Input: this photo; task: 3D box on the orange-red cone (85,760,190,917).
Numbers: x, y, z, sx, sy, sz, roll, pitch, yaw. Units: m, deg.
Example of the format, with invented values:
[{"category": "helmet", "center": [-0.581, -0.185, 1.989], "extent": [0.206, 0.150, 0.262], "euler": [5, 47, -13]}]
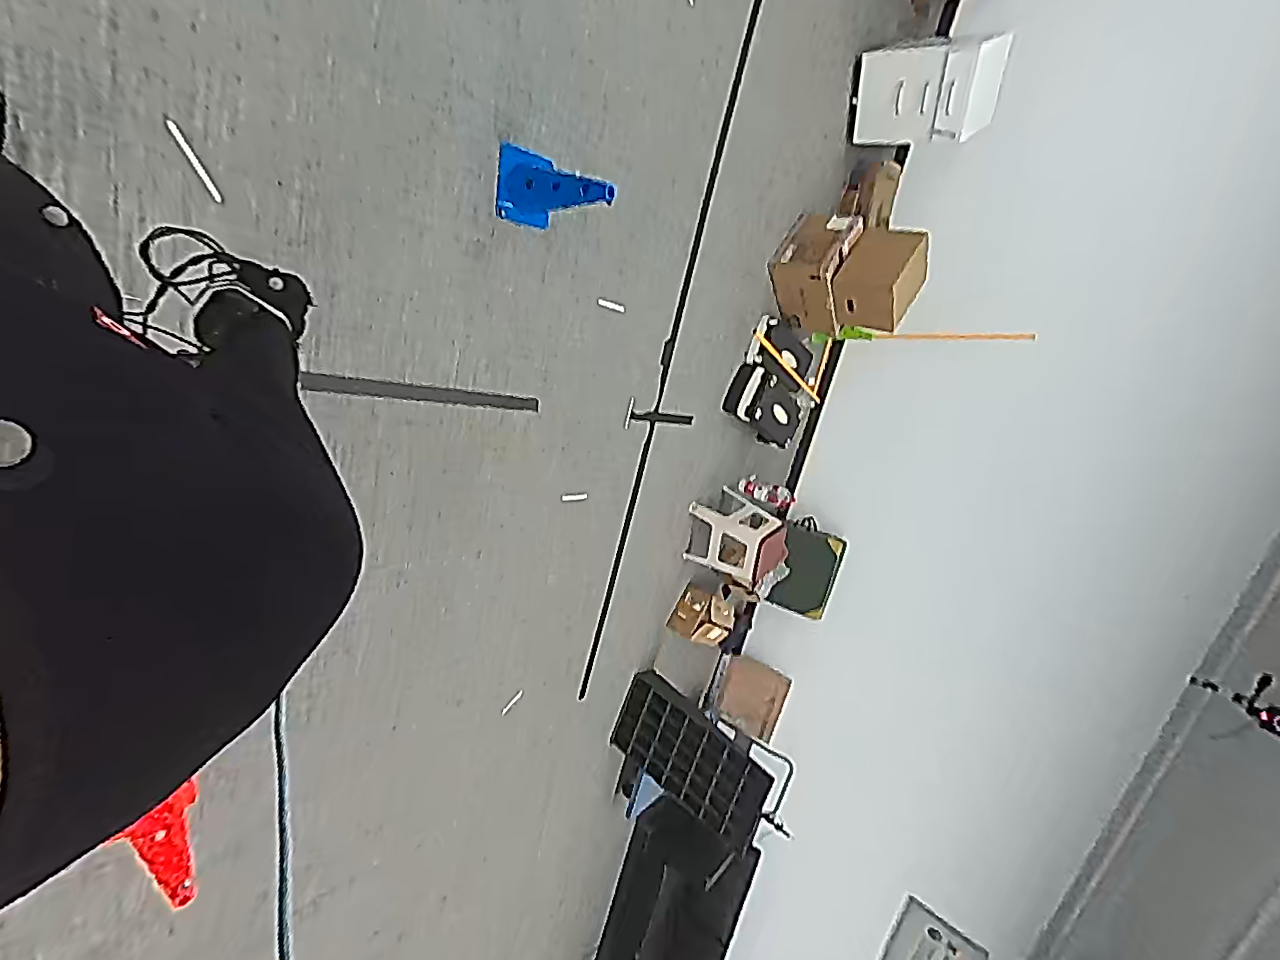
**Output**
[{"category": "orange-red cone", "center": [-1.158, 0.895, 1.301], "extent": [0.199, 0.360, 0.198], "euler": [-11, 120, -52]}]

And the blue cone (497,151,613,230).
[{"category": "blue cone", "center": [-0.222, -0.809, 1.532], "extent": [0.193, 0.380, 0.192], "euler": [-11, 119, -51]}]
